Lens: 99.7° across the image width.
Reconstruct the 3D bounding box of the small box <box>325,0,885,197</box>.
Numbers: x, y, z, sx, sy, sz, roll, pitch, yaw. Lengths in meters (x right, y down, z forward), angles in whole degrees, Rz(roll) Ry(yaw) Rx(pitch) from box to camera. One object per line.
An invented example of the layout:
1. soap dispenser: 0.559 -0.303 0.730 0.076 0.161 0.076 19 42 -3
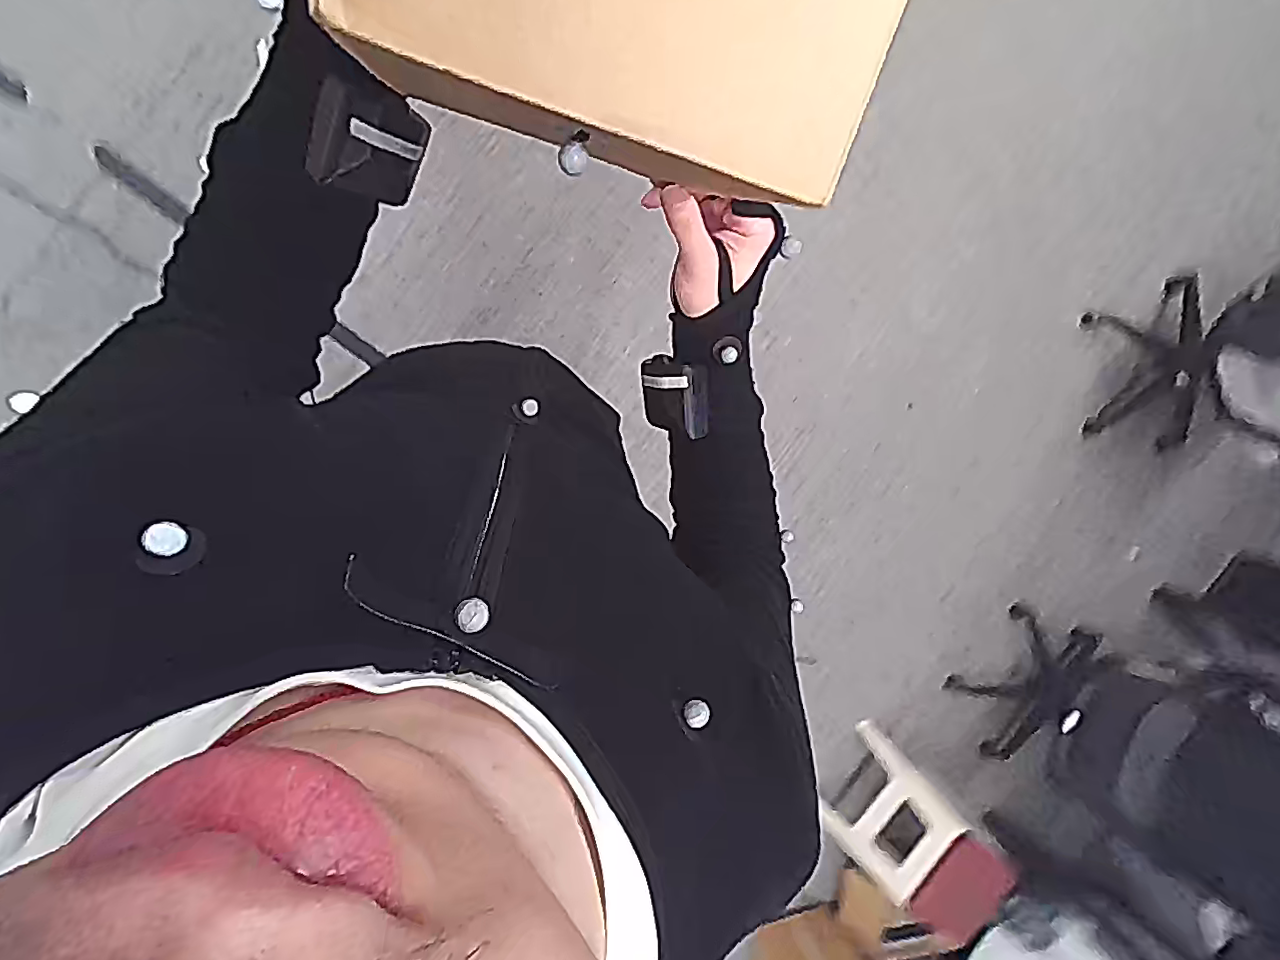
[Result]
1. small box: -0.010 -0.231 0.220 0.179 0.176 0.168 6 119 -20
